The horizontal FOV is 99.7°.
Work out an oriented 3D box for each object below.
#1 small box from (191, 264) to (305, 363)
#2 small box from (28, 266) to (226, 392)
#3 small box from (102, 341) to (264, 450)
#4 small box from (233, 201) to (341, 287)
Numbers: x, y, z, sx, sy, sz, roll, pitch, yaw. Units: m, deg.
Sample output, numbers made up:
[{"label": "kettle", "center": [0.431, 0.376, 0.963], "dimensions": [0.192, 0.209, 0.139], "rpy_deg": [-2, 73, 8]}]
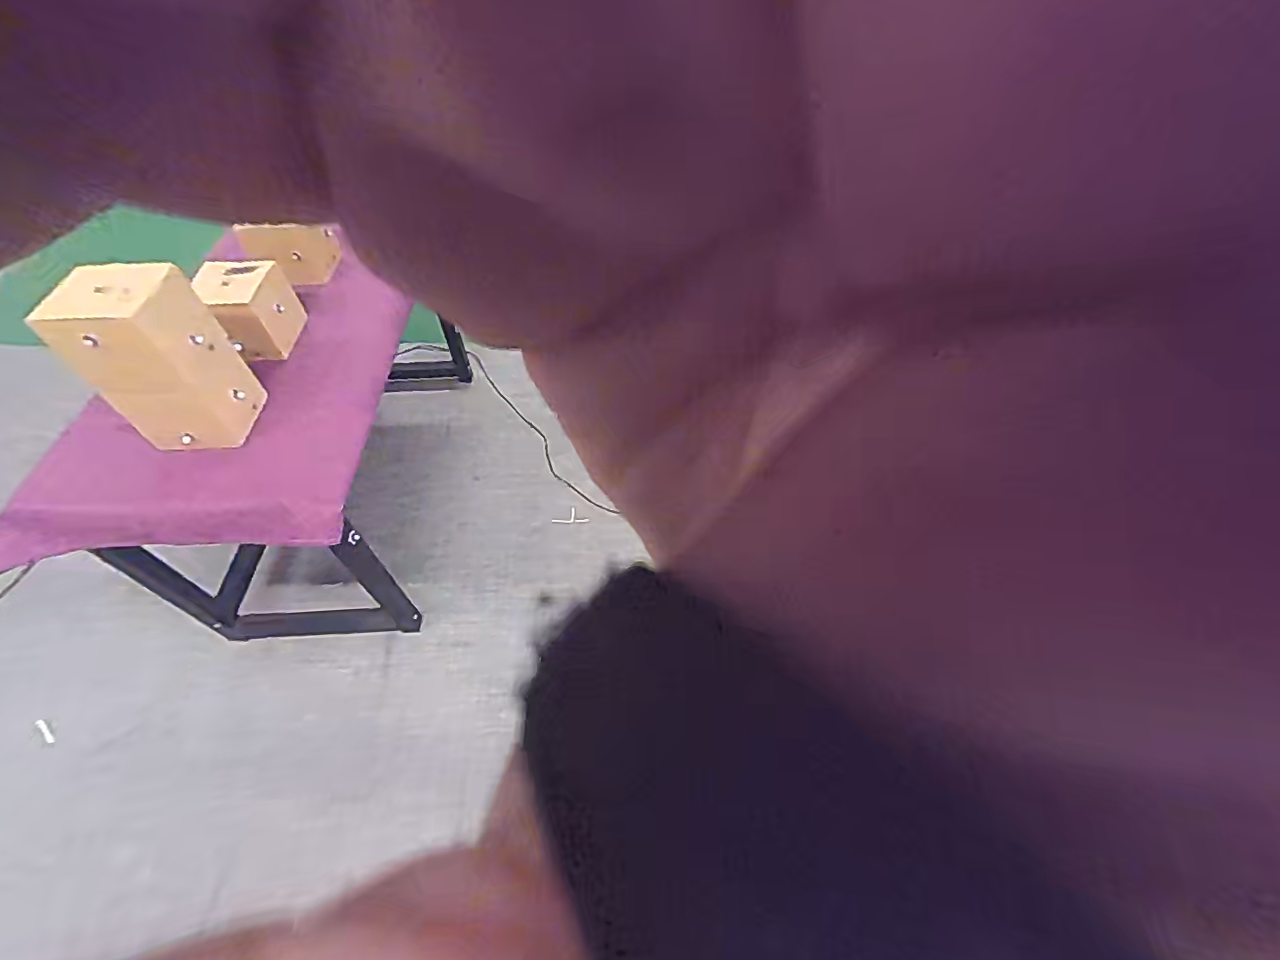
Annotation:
[{"label": "small box", "center": [-0.960, -0.407, 1.325], "dimensions": [0.168, 0.176, 0.179], "rpy_deg": [-3, 53, -2]}, {"label": "small box", "center": [-0.945, -0.280, 1.018], "dimensions": [0.179, 0.176, 0.168], "rpy_deg": [-2, 53, -3]}, {"label": "small box", "center": [-0.948, -0.177, 1.147], "dimensions": [0.179, 0.176, 0.168], "rpy_deg": [-2, 52, -3]}, {"label": "small box", "center": [-0.978, -0.660, 1.521], "dimensions": [0.179, 0.176, 0.168], "rpy_deg": [-2, 52, -1]}]
